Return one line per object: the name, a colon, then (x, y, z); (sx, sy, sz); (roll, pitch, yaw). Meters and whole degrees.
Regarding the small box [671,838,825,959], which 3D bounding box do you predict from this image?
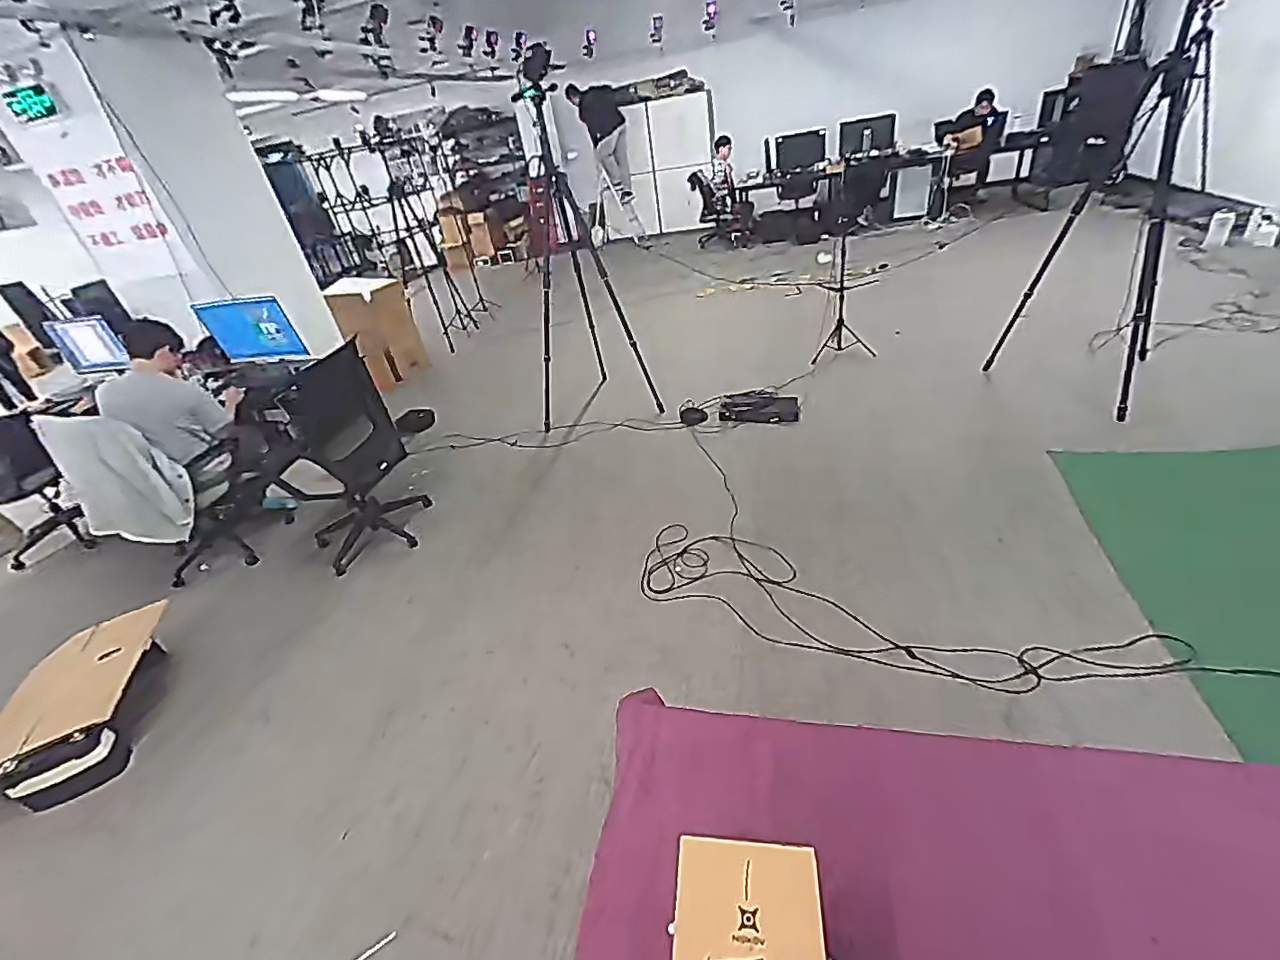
small box: (0.131, 0.566, 0.644); (0.168, 0.176, 0.179); (-1, 35, 11)
